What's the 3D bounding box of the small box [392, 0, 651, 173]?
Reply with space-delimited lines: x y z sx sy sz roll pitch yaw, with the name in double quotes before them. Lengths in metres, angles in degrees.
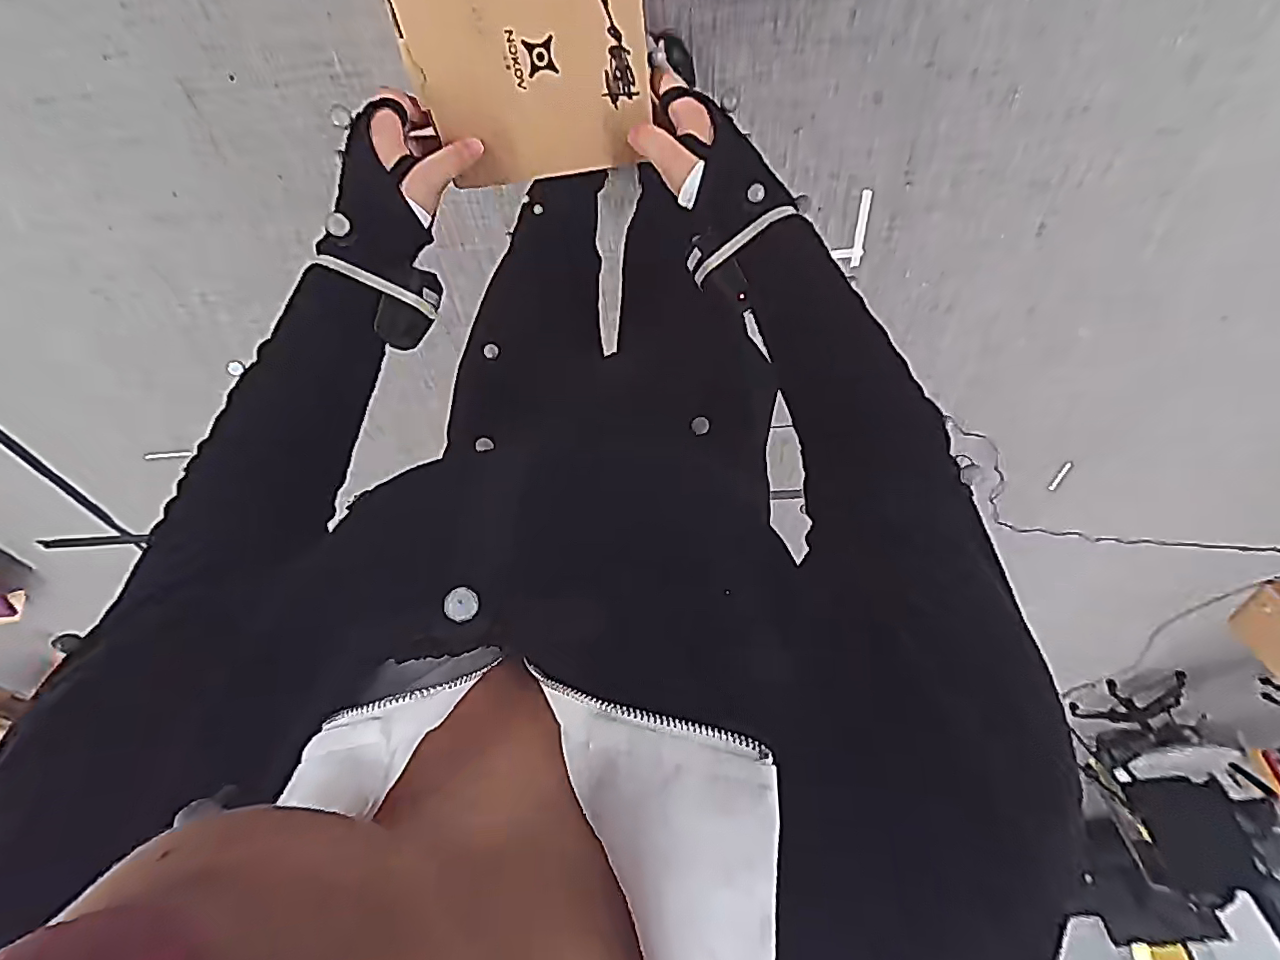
"small box" -0.086 -0.383 0.450 0.179 0.176 0.168 -6 140 3
